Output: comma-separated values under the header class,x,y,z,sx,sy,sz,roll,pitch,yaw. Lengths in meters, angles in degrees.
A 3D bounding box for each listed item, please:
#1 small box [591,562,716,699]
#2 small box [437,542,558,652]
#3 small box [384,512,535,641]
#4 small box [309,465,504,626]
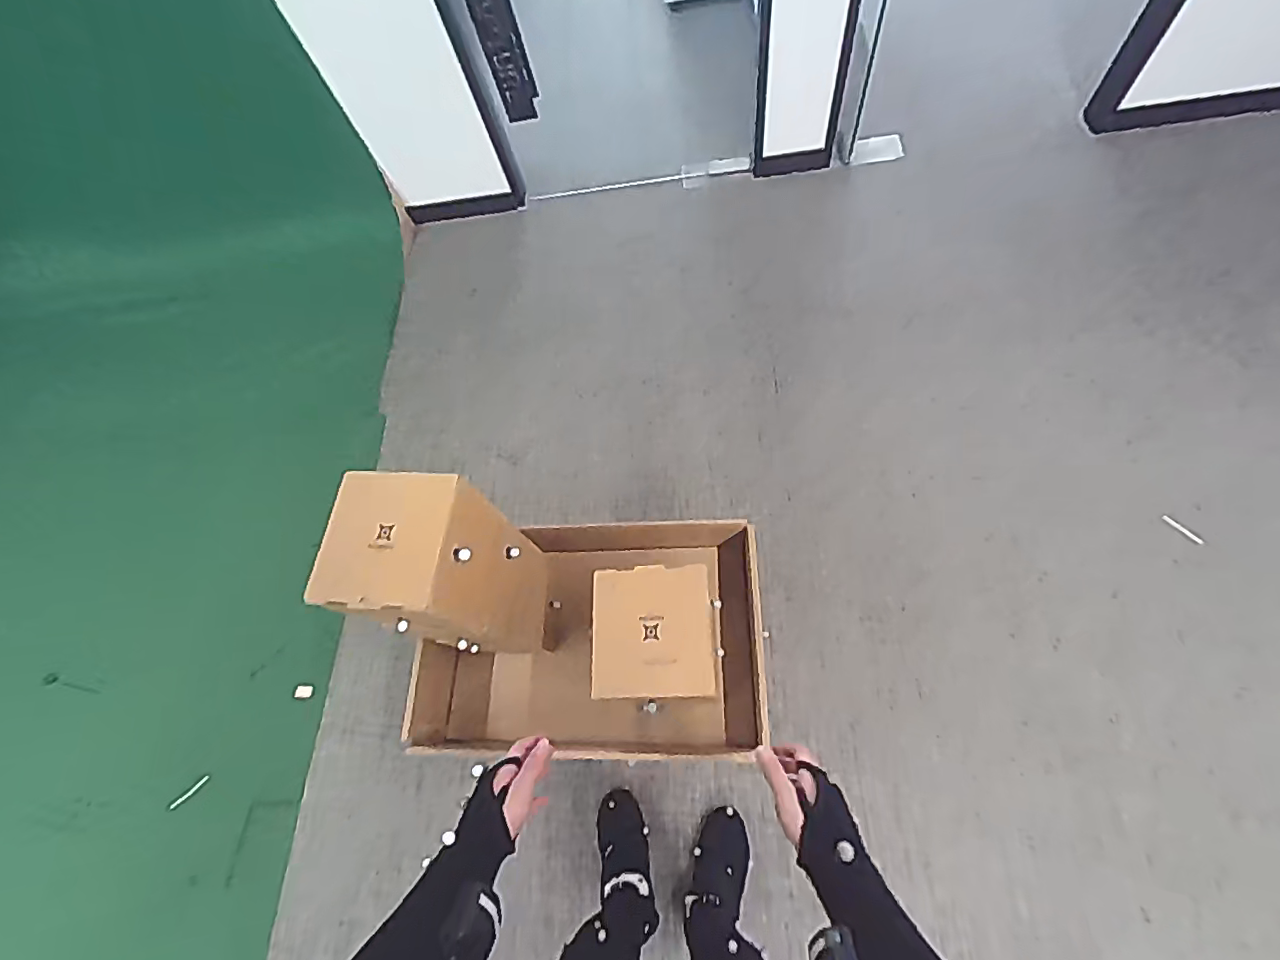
class,x,y,z,sx,sy,sz,roll,pitch,yaw
small box,0.027,0.231,0.812,0.168,0.176,0.179,-4,66,8
small box,-0.262,0.226,1.040,0.168,0.176,0.179,0,66,8
small box,-0.283,0.160,0.892,0.168,0.176,0.179,1,67,10
small box,-0.302,0.094,0.745,0.168,0.176,0.179,2,68,10
